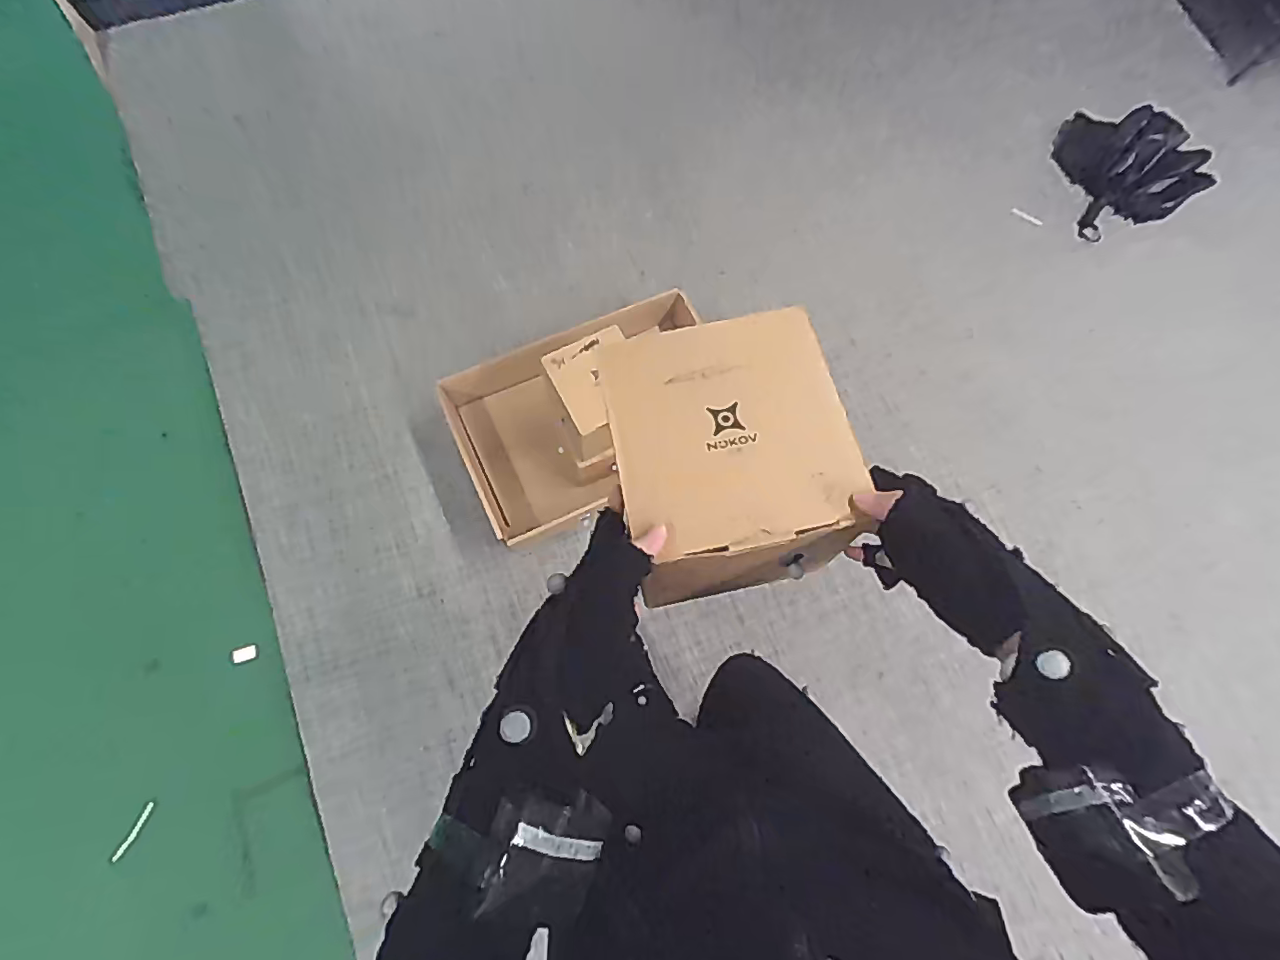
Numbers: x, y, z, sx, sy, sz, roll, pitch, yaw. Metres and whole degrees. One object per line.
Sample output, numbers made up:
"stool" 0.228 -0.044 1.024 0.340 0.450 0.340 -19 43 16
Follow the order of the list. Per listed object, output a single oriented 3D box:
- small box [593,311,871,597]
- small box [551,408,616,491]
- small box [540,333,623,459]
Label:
"small box" 0.062 -0.008 0.460 0.168 0.176 0.179 -12 66 -3
"small box" -0.093 -0.093 1.254 0.179 0.176 0.168 -22 77 -9
"small box" -0.083 -0.157 1.086 0.168 0.176 0.179 -26 79 -10
